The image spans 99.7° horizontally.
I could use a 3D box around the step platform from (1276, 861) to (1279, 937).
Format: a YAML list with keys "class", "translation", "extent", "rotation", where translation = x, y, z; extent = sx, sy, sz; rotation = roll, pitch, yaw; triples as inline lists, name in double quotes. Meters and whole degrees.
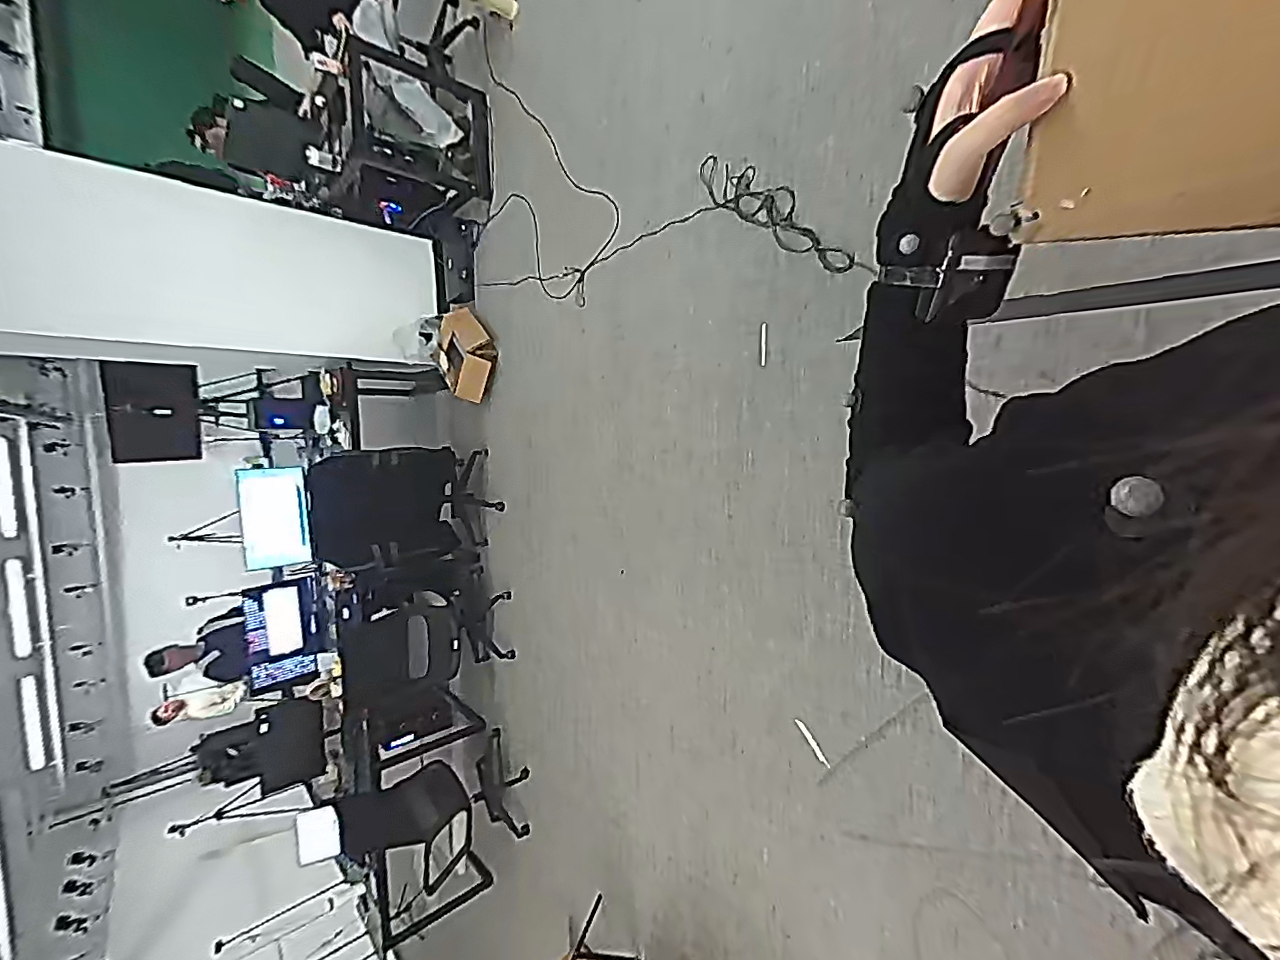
- class: "step platform"
  translation: [1.358, 0.746, 0.699]
  extent: [0.684, 0.204, 0.286]
  rotation: [14, 104, 46]
